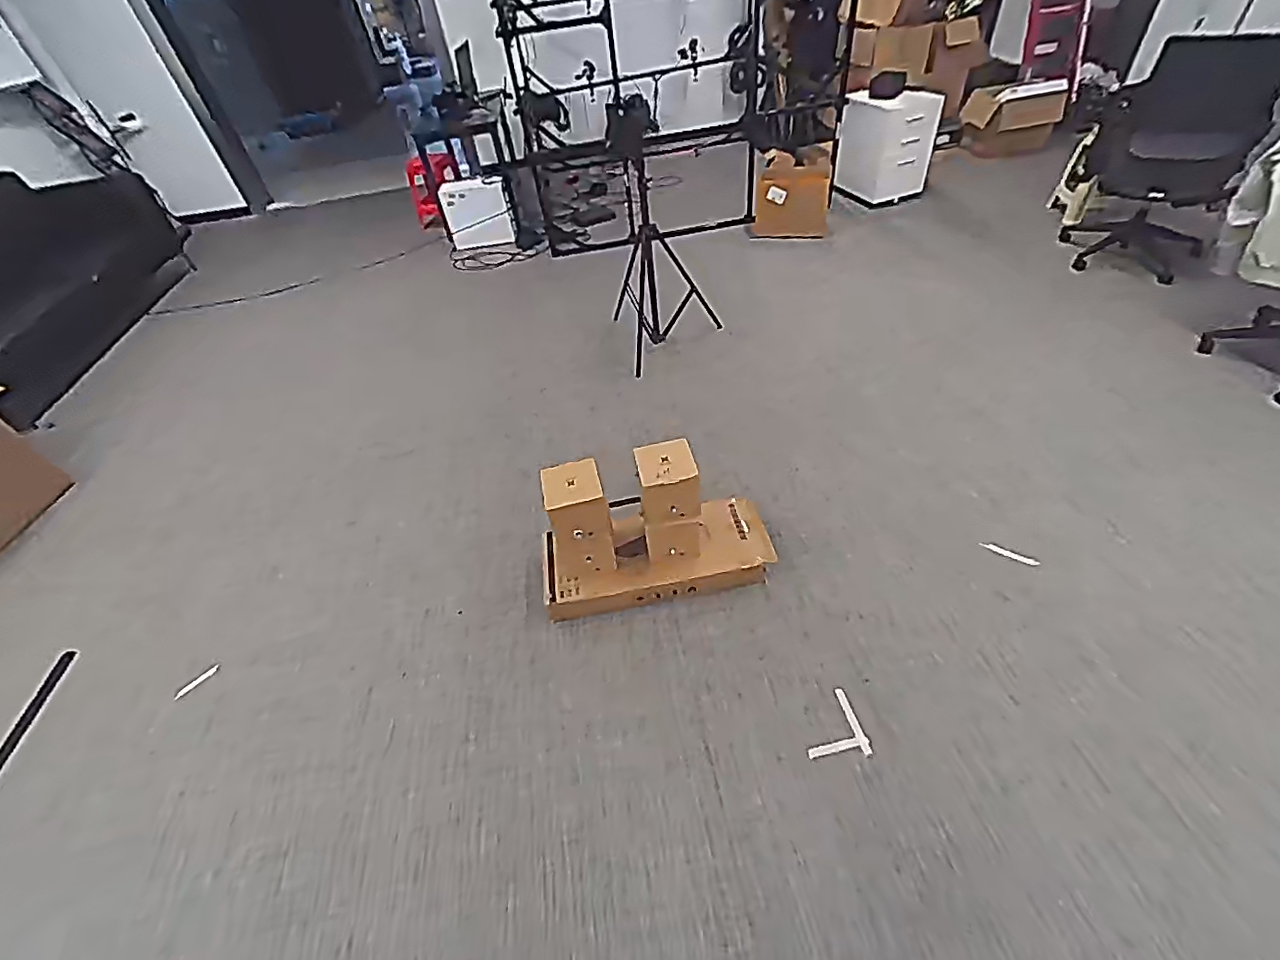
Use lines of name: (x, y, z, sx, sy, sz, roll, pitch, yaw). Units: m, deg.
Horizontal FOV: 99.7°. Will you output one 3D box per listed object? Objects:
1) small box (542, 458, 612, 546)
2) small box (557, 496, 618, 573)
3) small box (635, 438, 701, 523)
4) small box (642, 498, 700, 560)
small box: (-0.187, 0.065, 1.606, 0.168, 0.176, 0.179, -14, 45, -6)
small box: (-0.166, 0.179, 1.720, 0.168, 0.176, 0.179, -10, 45, -1)
small box: (0.083, 0.003, 1.625, 0.168, 0.176, 0.179, -12, 44, -2)
small box: (0.098, 0.131, 1.730, 0.168, 0.176, 0.179, -9, 45, 2)
